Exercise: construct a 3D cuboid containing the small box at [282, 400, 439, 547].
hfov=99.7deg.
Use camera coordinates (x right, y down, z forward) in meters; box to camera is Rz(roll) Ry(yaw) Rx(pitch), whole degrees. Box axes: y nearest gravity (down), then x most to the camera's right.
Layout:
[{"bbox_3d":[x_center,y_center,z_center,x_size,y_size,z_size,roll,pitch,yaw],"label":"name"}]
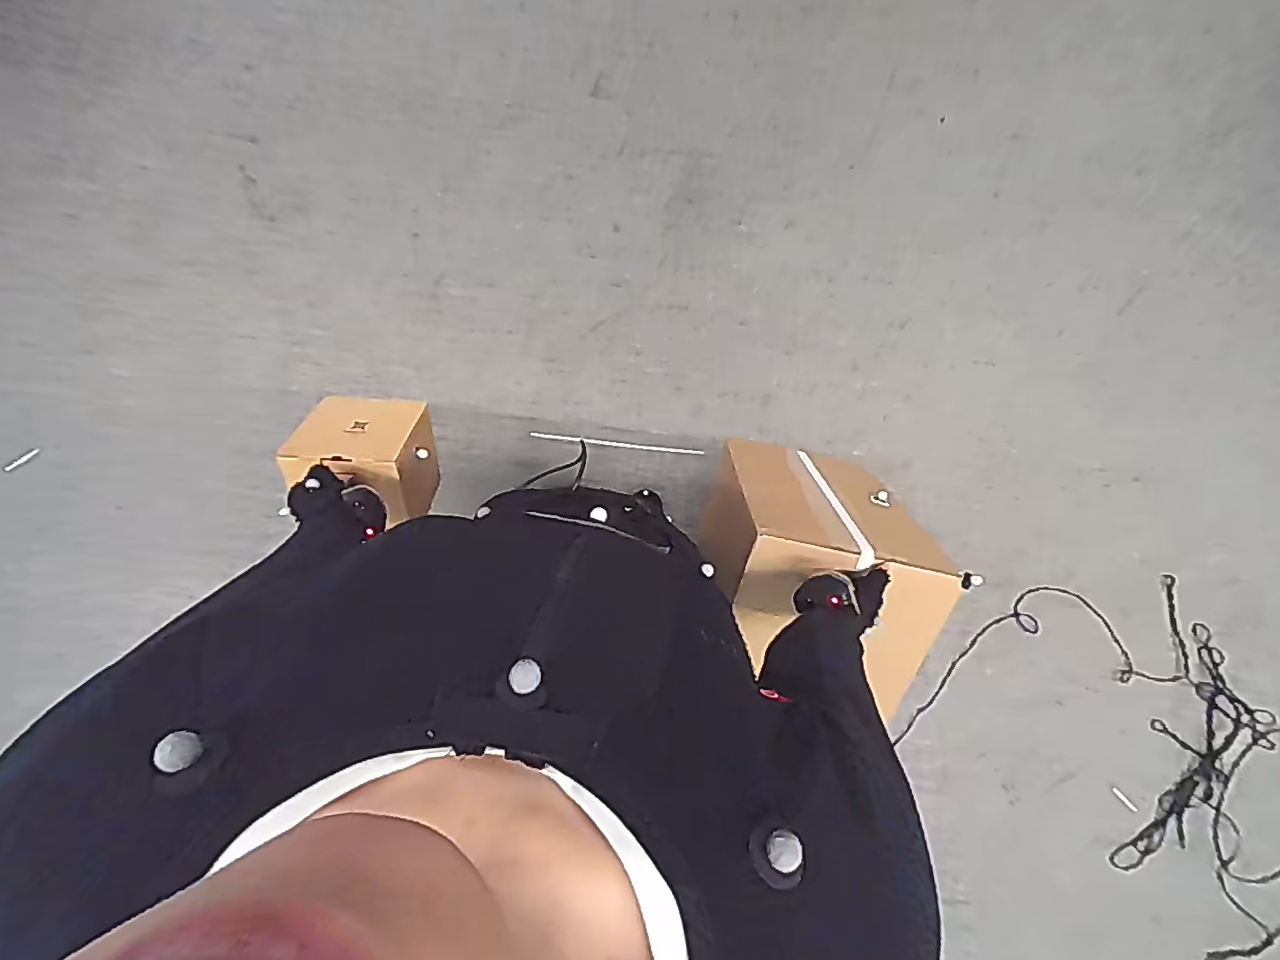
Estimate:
[{"bbox_3d":[-0.440,-0.012,0.889,0.168,0.179,0.176,2,128,-5],"label":"small box"}]
